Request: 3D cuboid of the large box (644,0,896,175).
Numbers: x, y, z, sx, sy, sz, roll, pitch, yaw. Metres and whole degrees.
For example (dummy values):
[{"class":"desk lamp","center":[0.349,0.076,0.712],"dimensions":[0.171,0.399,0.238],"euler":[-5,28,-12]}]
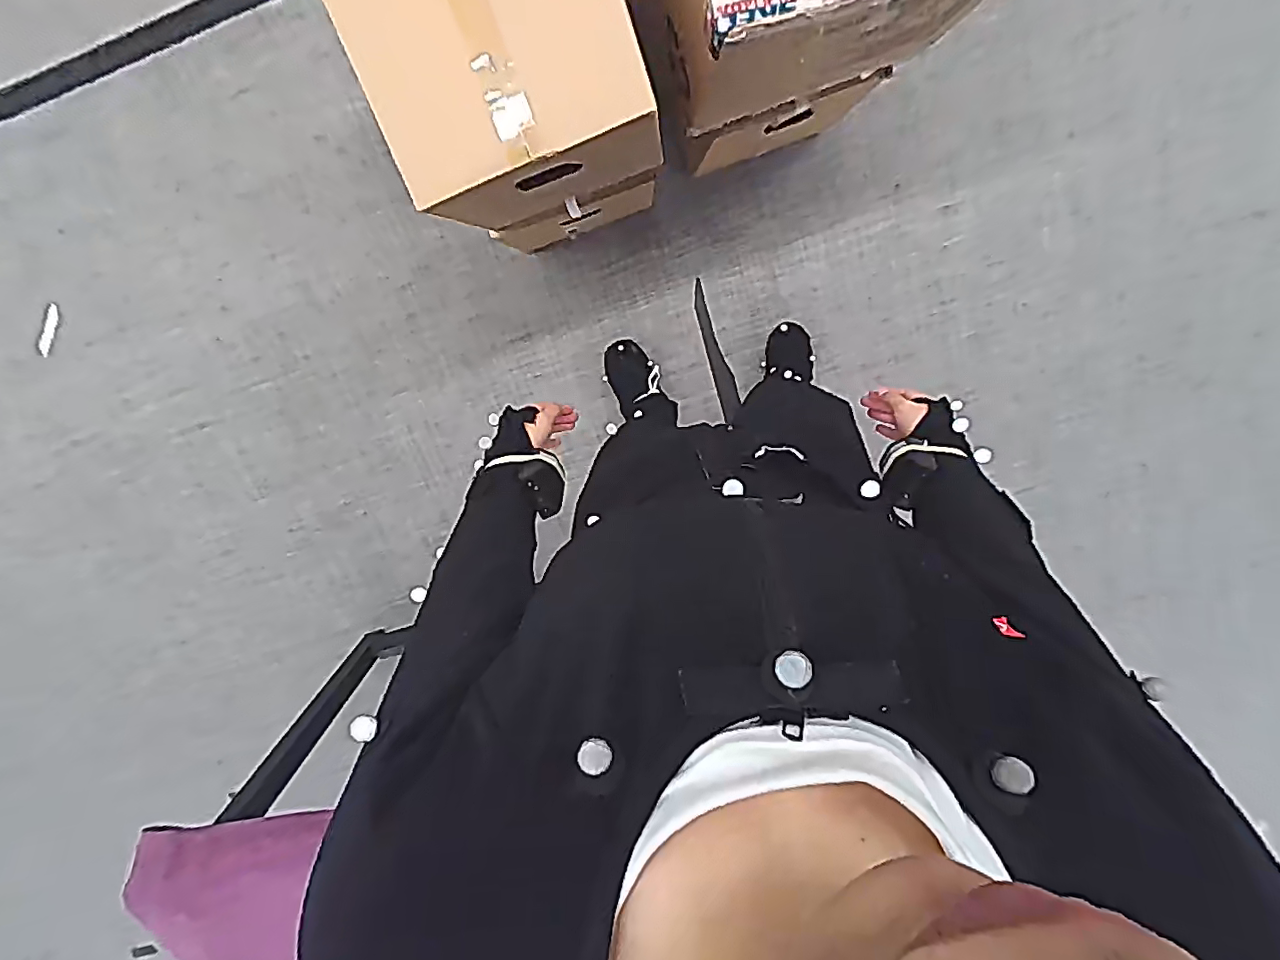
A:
[{"class":"large box","center":[0.204,-0.847,0.977],"dimensions":[0.320,0.320,0.408],"euler":[-19,108,5]}]
